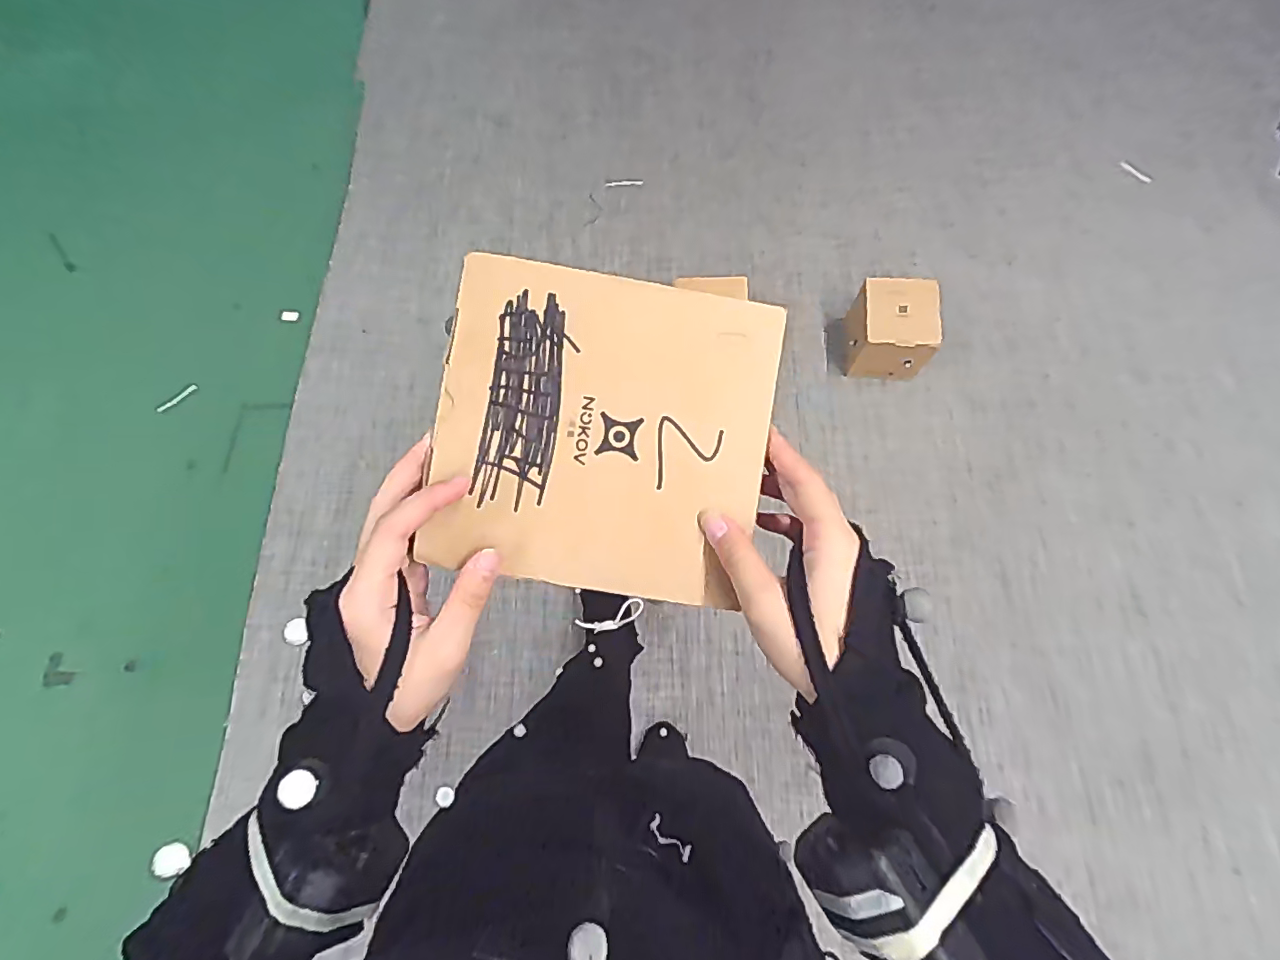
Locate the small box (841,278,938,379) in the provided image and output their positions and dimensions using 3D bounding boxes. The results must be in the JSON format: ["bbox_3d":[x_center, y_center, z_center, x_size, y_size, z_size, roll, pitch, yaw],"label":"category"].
[{"bbox_3d":[0.597,-0.361,1.313,0.168,0.176,0.179,4,72,3],"label":"small box"}]
